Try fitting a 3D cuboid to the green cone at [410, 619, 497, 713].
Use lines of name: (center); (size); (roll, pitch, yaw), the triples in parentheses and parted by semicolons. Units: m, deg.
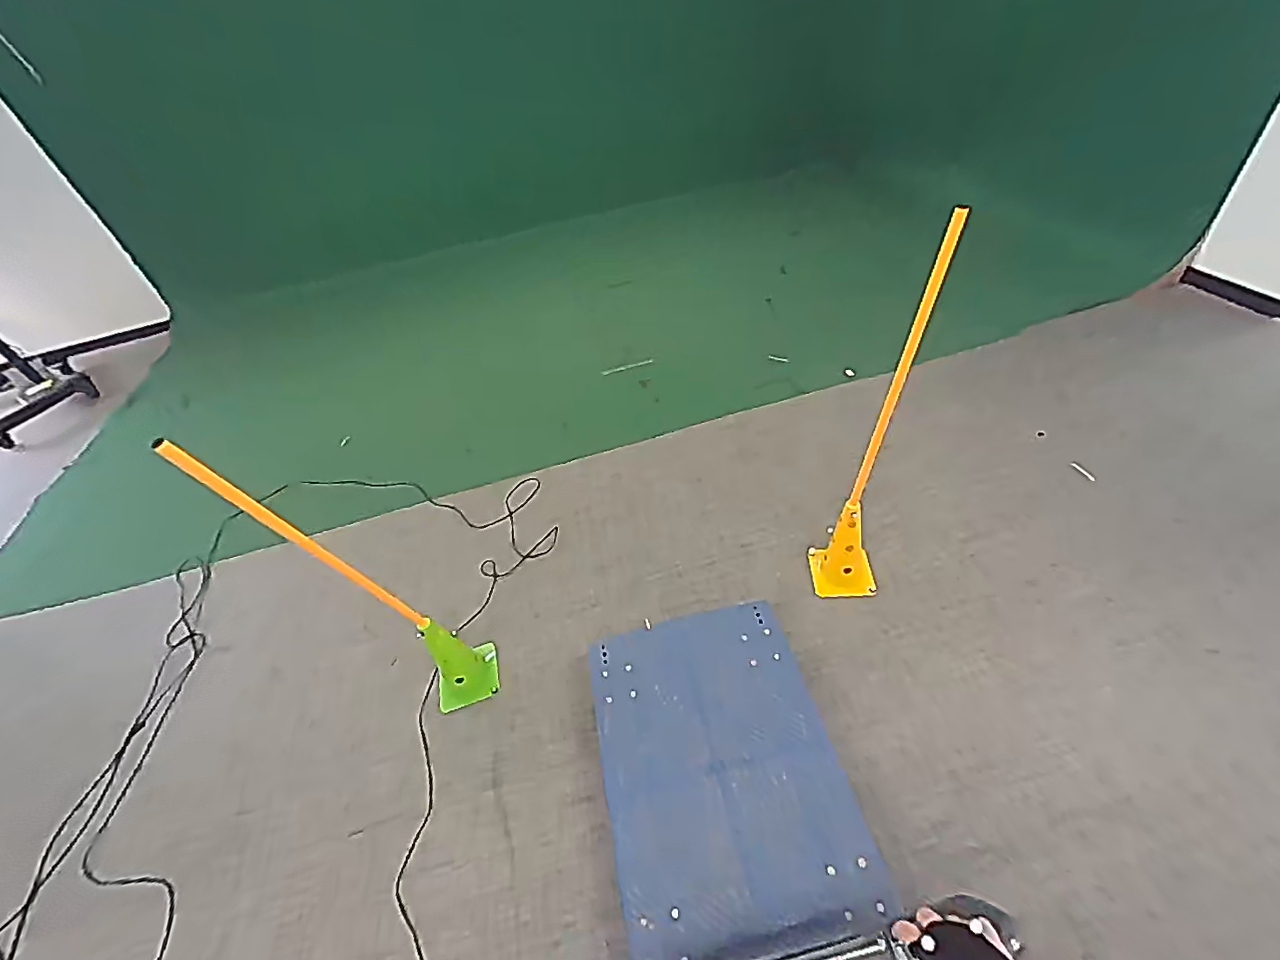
green cone: (-0.615, 0.541, 1.700); (0.202, 0.368, 0.200); (-20, 44, -5)
